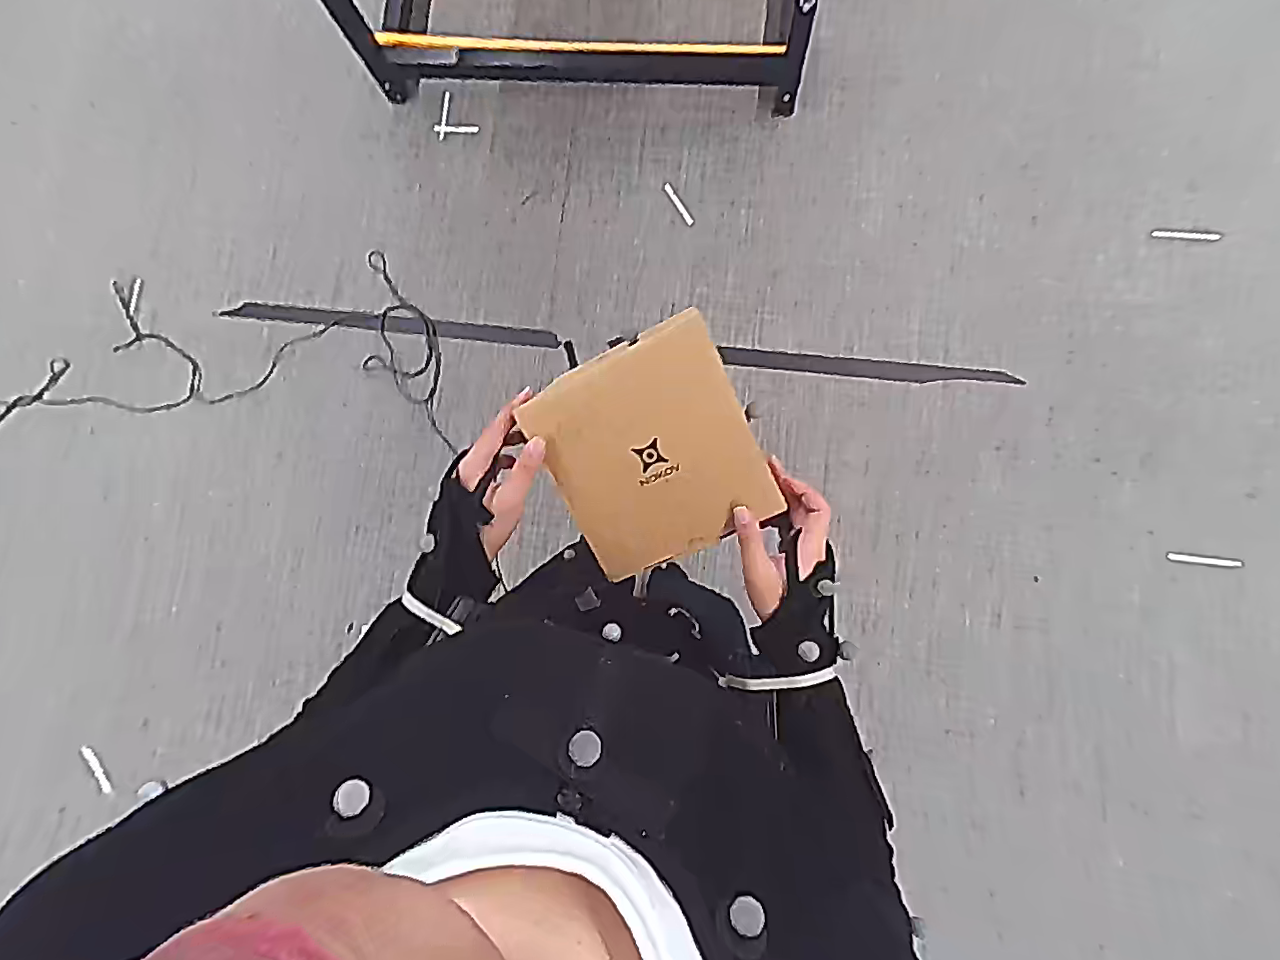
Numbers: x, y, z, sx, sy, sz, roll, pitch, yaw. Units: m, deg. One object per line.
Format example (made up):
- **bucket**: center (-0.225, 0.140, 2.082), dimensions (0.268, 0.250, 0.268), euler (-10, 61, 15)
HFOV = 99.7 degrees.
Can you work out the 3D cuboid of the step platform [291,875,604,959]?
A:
- **step platform**: center (-0.431, 1.138, 1.206), dimensions (0.684, 0.204, 0.286), euler (6, 84, 5)
